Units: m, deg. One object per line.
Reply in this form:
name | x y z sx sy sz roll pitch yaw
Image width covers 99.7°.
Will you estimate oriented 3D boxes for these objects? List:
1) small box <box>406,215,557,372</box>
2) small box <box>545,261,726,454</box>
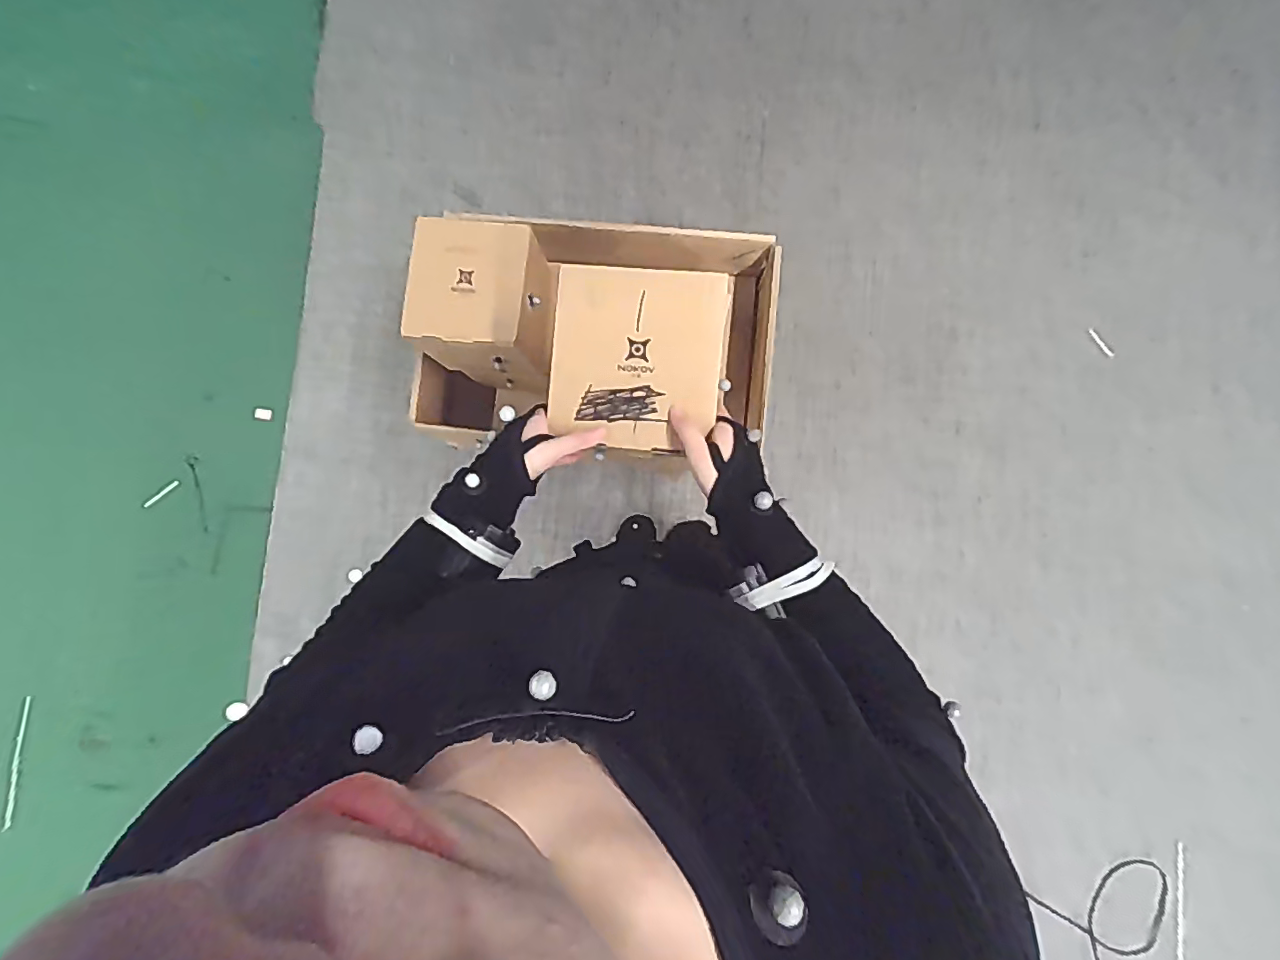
small box | -0.232 -0.276 0.835 0.168 0.176 0.179 7 86 4
small box | 0.002 -0.123 0.603 0.168 0.176 0.179 5 91 5
